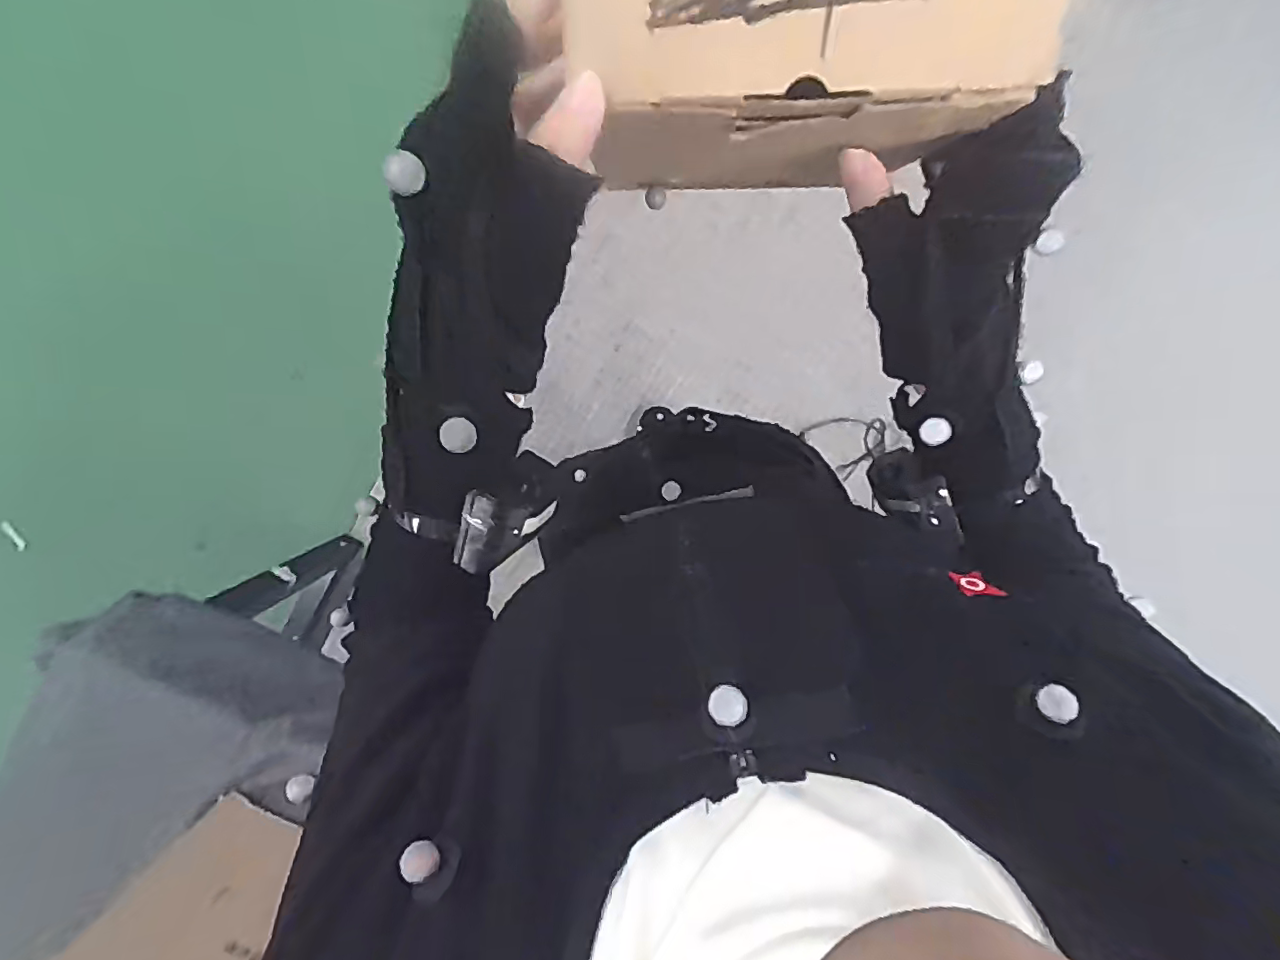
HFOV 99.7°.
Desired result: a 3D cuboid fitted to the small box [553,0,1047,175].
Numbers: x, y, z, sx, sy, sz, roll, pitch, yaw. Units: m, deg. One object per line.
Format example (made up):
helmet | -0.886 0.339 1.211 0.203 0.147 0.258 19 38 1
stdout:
small box | 0.056 -0.242 0.235 0.168 0.176 0.179 0 109 2
